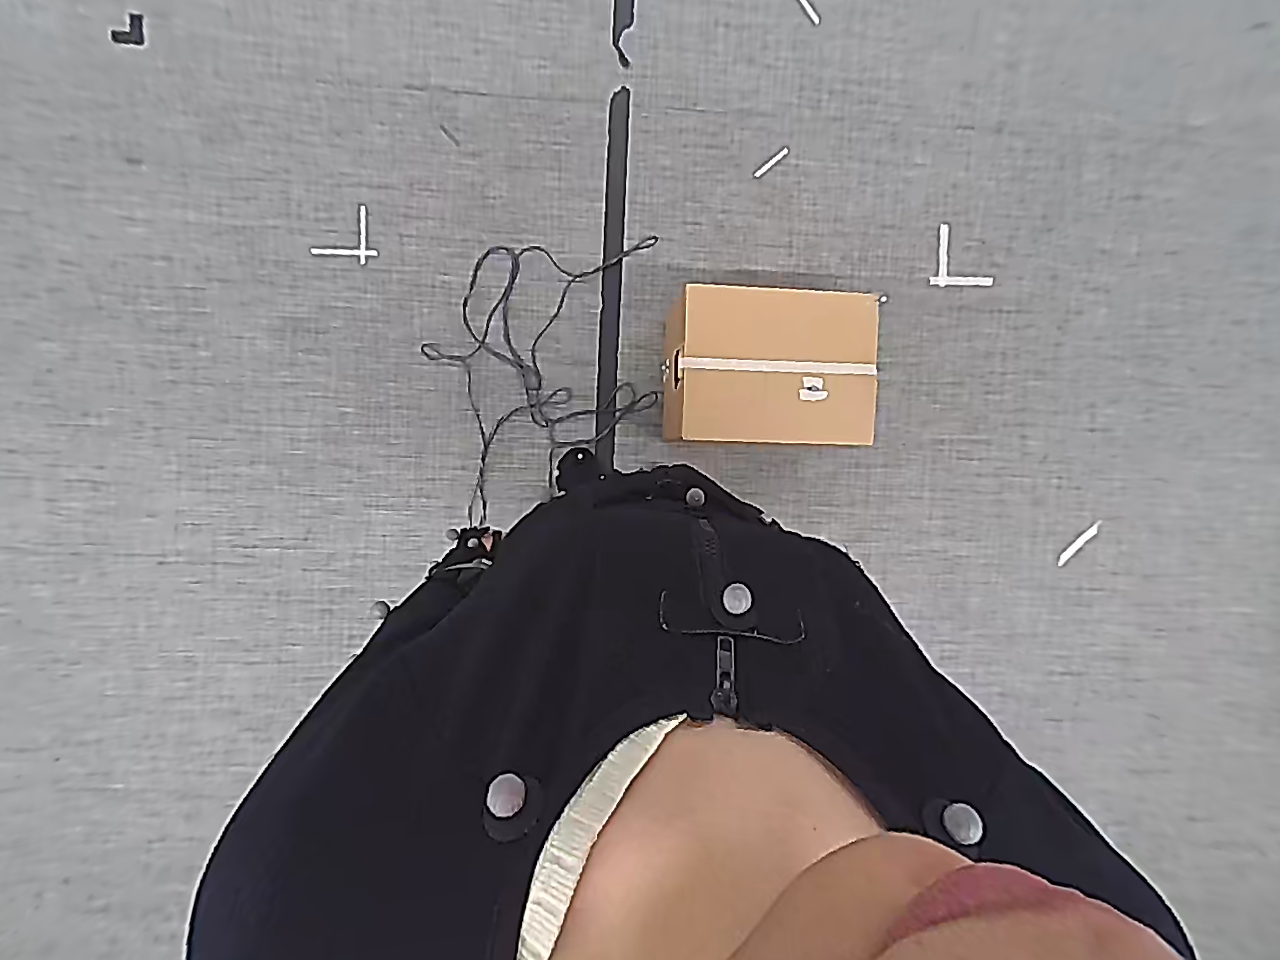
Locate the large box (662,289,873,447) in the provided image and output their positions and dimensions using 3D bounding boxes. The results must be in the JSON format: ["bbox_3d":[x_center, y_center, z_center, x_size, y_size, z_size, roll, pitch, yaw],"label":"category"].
[{"bbox_3d":[0.268,-0.235,1.251,0.408,0.320,0.320,1,93,-6],"label":"large box"}]
